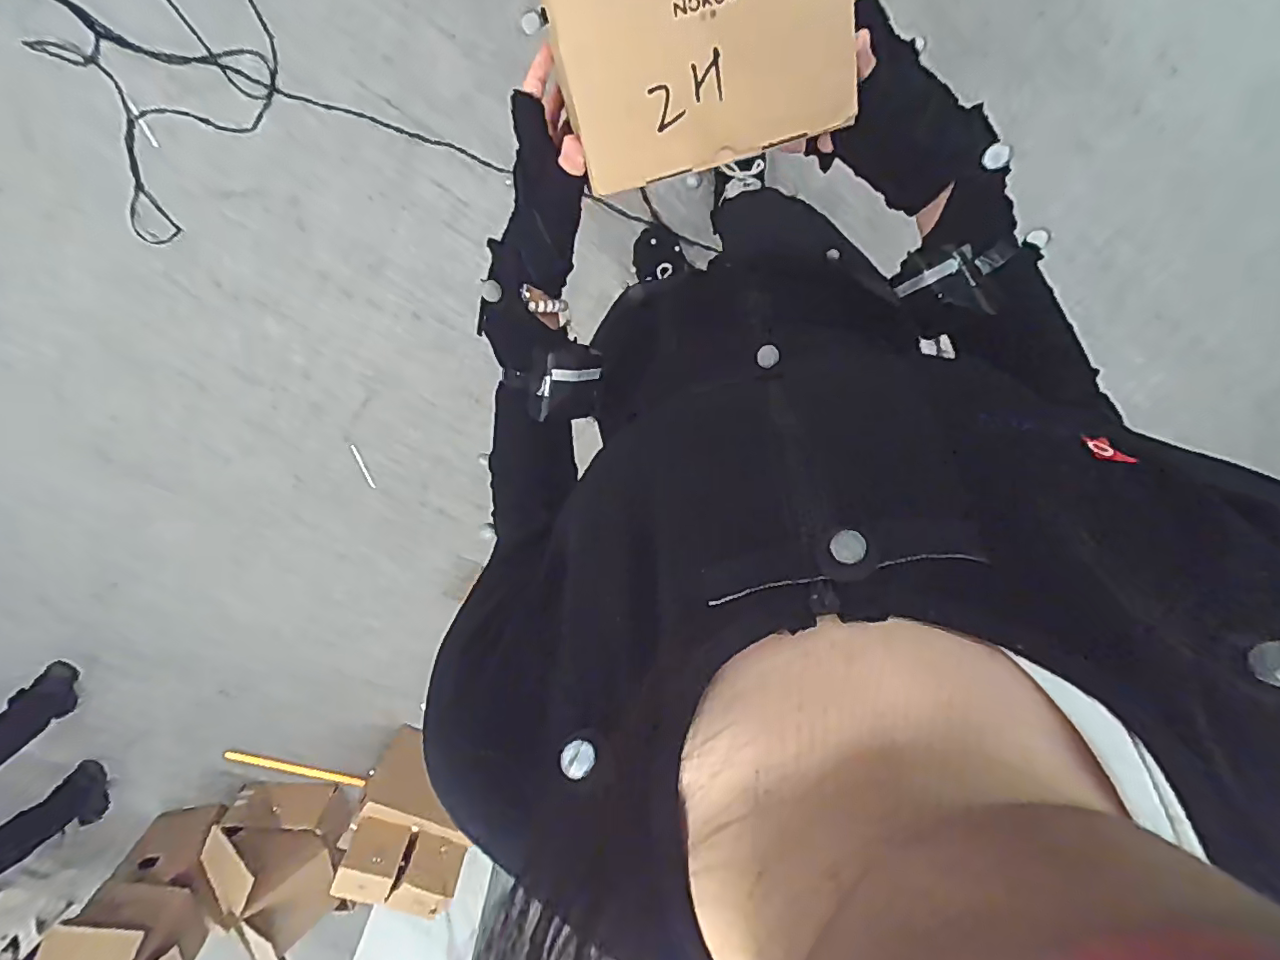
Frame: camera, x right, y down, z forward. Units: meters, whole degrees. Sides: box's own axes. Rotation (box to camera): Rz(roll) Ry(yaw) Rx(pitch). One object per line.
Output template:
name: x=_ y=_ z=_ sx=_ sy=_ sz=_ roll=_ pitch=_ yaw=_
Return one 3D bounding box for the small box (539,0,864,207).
small box: x=0.026 y=-0.294 z=0.352 sx=0.168 sy=0.176 sz=0.179 roll=-16 pitch=120 yaw=2

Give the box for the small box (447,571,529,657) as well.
small box: x=-0.472 y=0.414 z=1.704 sx=0.179 sy=0.176 sz=0.168 roll=29 pitch=113 yaw=-15
